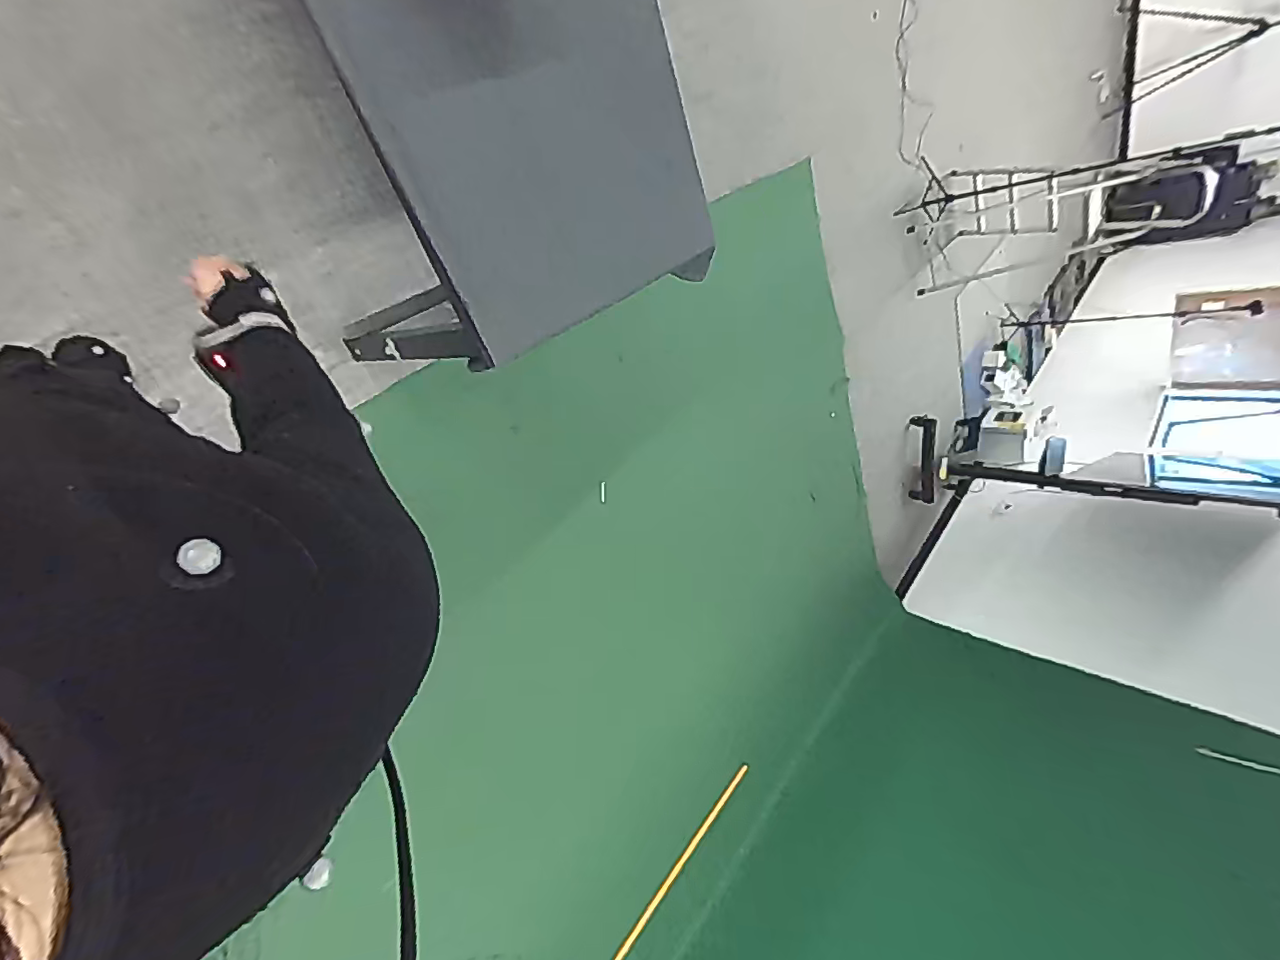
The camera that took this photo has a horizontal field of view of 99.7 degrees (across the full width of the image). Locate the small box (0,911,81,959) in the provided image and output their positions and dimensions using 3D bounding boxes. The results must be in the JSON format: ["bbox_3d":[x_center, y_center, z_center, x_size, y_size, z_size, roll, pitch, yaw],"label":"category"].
[{"bbox_3d":[-1.123,0.899,0.931,0.168,0.176,0.179,-45,128,-28],"label":"small box"}]
